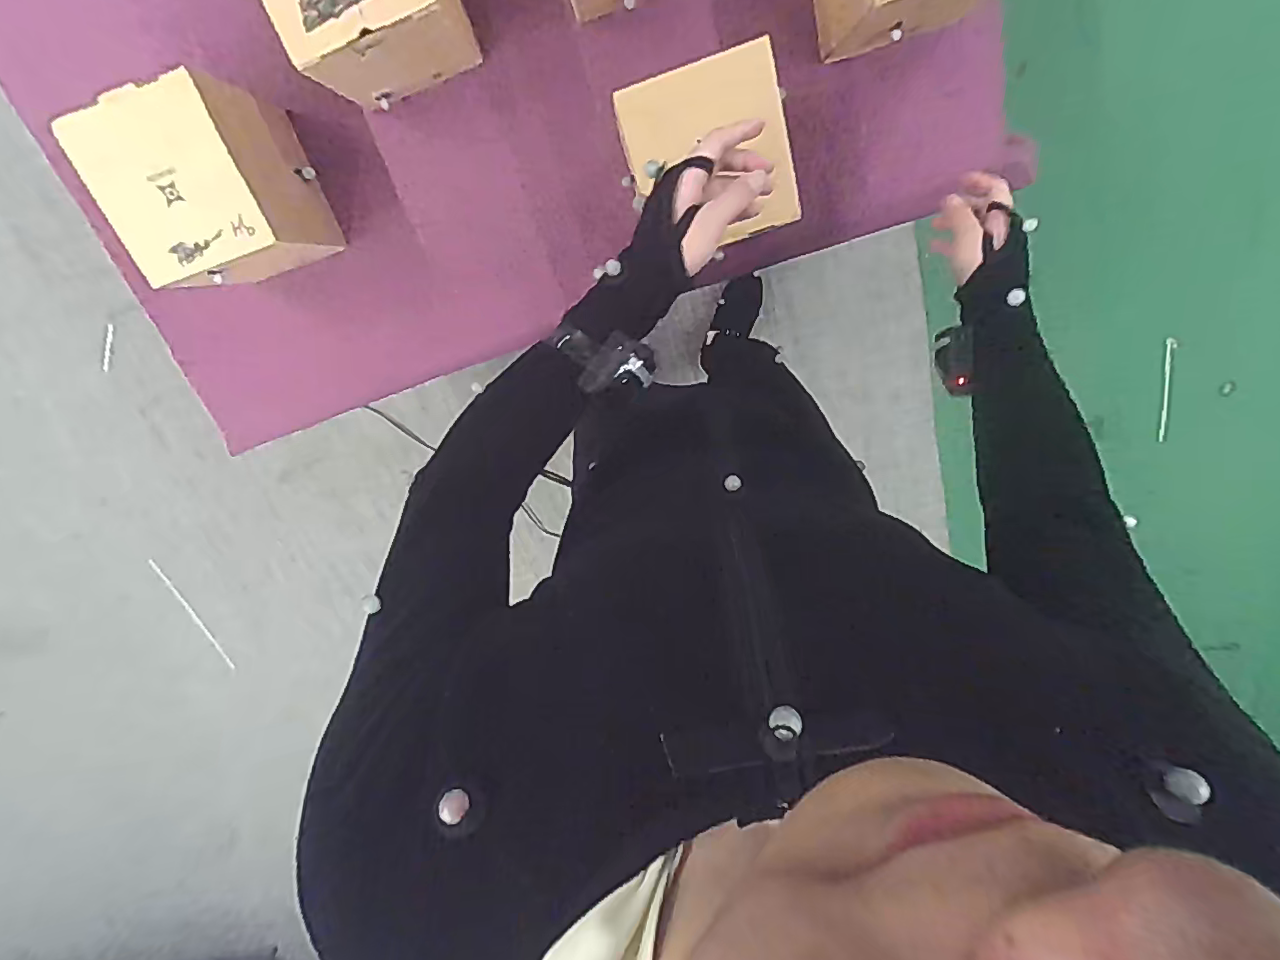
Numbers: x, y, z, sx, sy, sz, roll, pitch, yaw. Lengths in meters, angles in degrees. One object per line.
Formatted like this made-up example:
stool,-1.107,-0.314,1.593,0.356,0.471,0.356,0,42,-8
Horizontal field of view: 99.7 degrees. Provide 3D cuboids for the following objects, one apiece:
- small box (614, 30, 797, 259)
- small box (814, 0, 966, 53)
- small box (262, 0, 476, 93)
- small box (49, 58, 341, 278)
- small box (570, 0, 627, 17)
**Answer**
small box,0.072,-0.378,0.647,0.168,0.176,0.179,-15,110,6
small box,0.280,-0.596,0.563,0.168,0.176,0.179,-15,112,6
small box,-0.300,-0.550,0.578,0.168,0.176,0.179,-18,110,7
small box,-0.510,-0.355,0.653,0.168,0.176,0.179,-16,111,7
small box,-0.030,-0.631,0.548,0.168,0.176,0.179,-18,111,8
